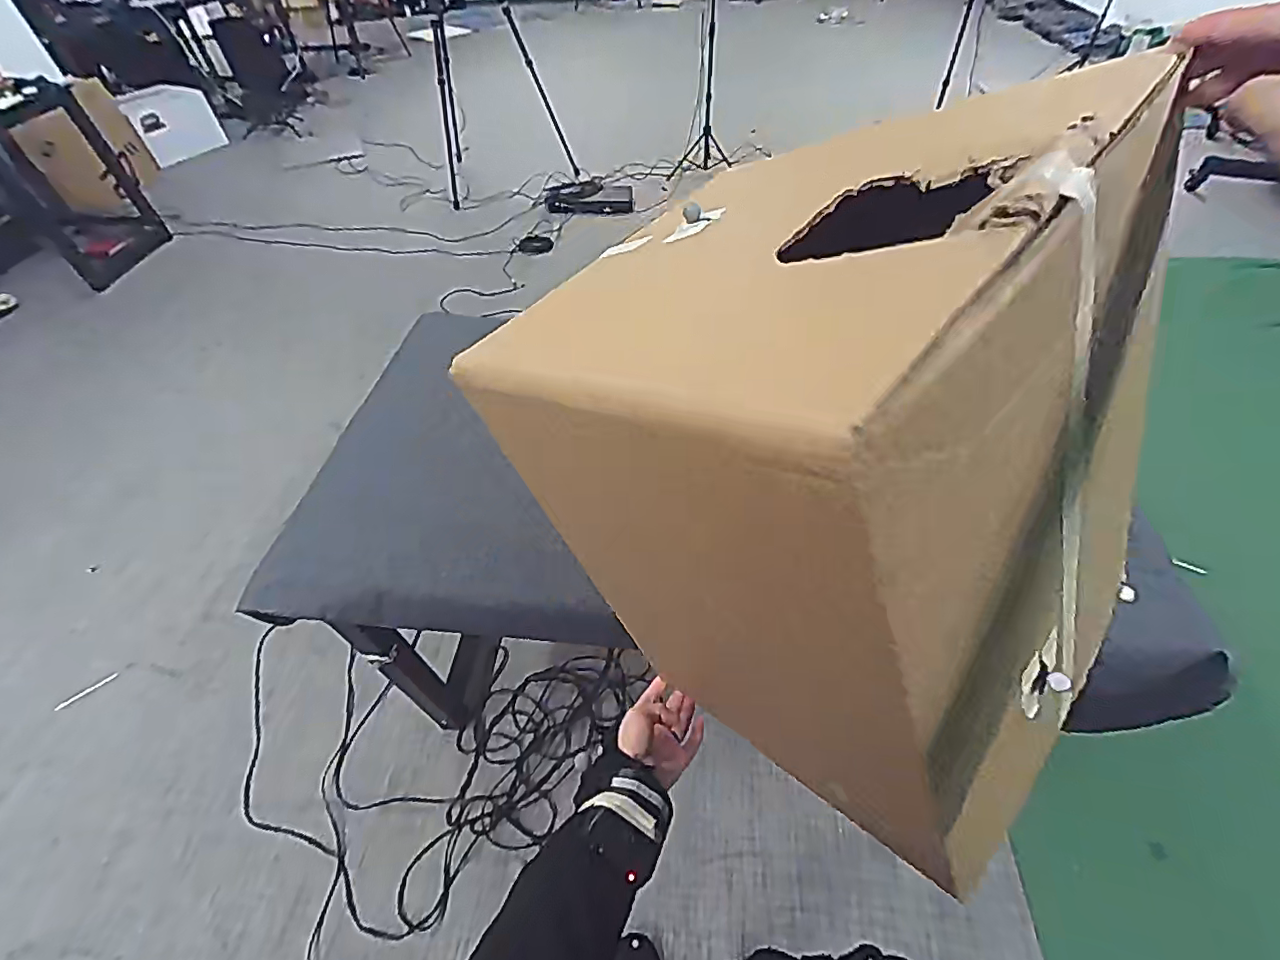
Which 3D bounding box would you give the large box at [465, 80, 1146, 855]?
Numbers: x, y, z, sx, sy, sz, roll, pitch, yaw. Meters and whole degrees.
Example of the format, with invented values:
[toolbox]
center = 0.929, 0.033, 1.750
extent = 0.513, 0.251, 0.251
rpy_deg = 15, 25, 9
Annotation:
[large box]
center = 0.142, -0.001, 0.441
extent = 0.320, 0.408, 0.320
rpy_deg = -44, 38, -22
